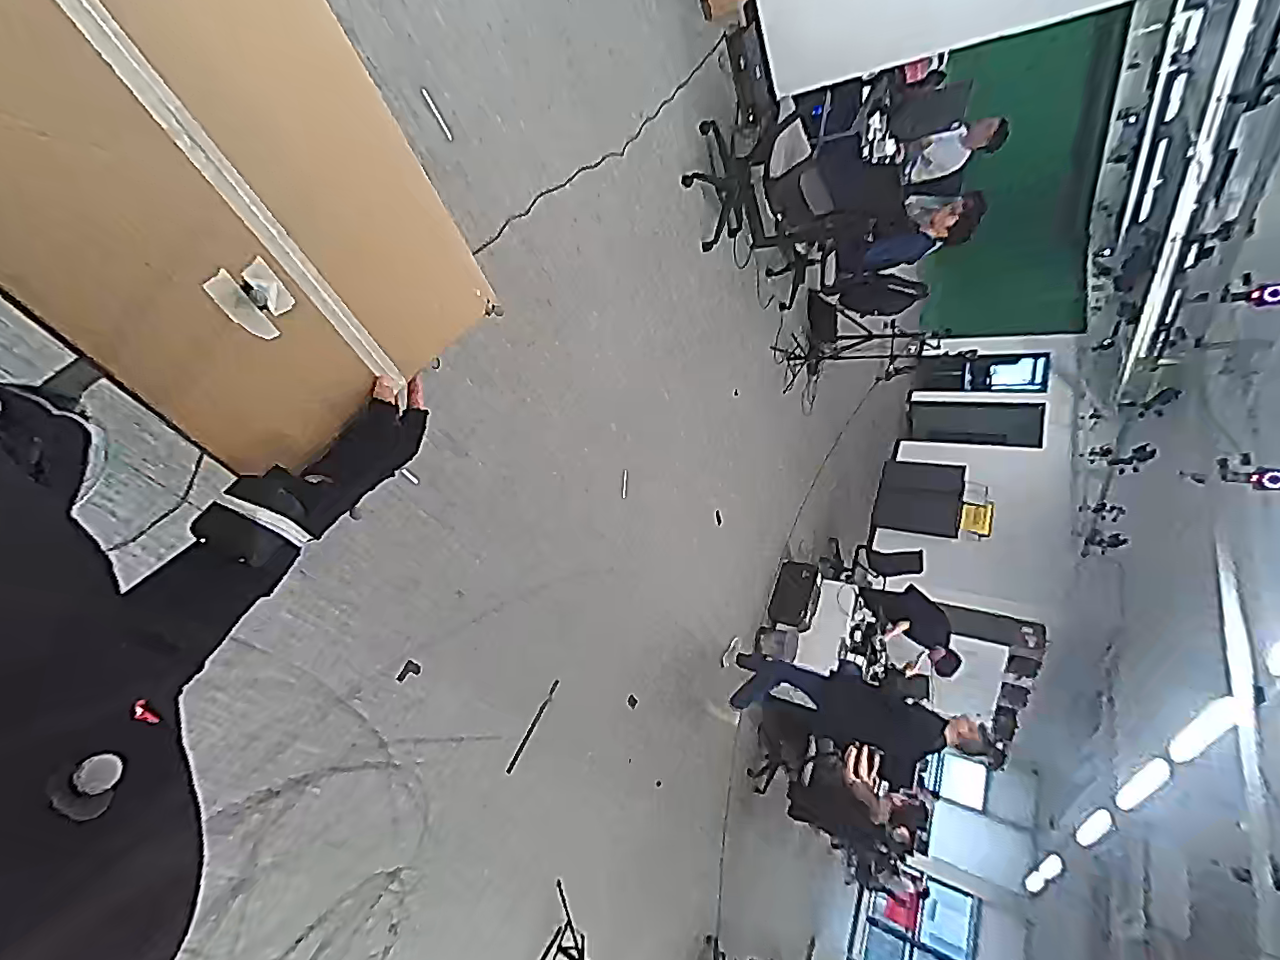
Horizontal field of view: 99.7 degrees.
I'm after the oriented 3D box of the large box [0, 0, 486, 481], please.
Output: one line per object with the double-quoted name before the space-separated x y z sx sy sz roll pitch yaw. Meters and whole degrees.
"large box" -0.440 -0.268 0.515 0.320 0.320 0.408 -52 140 -25
